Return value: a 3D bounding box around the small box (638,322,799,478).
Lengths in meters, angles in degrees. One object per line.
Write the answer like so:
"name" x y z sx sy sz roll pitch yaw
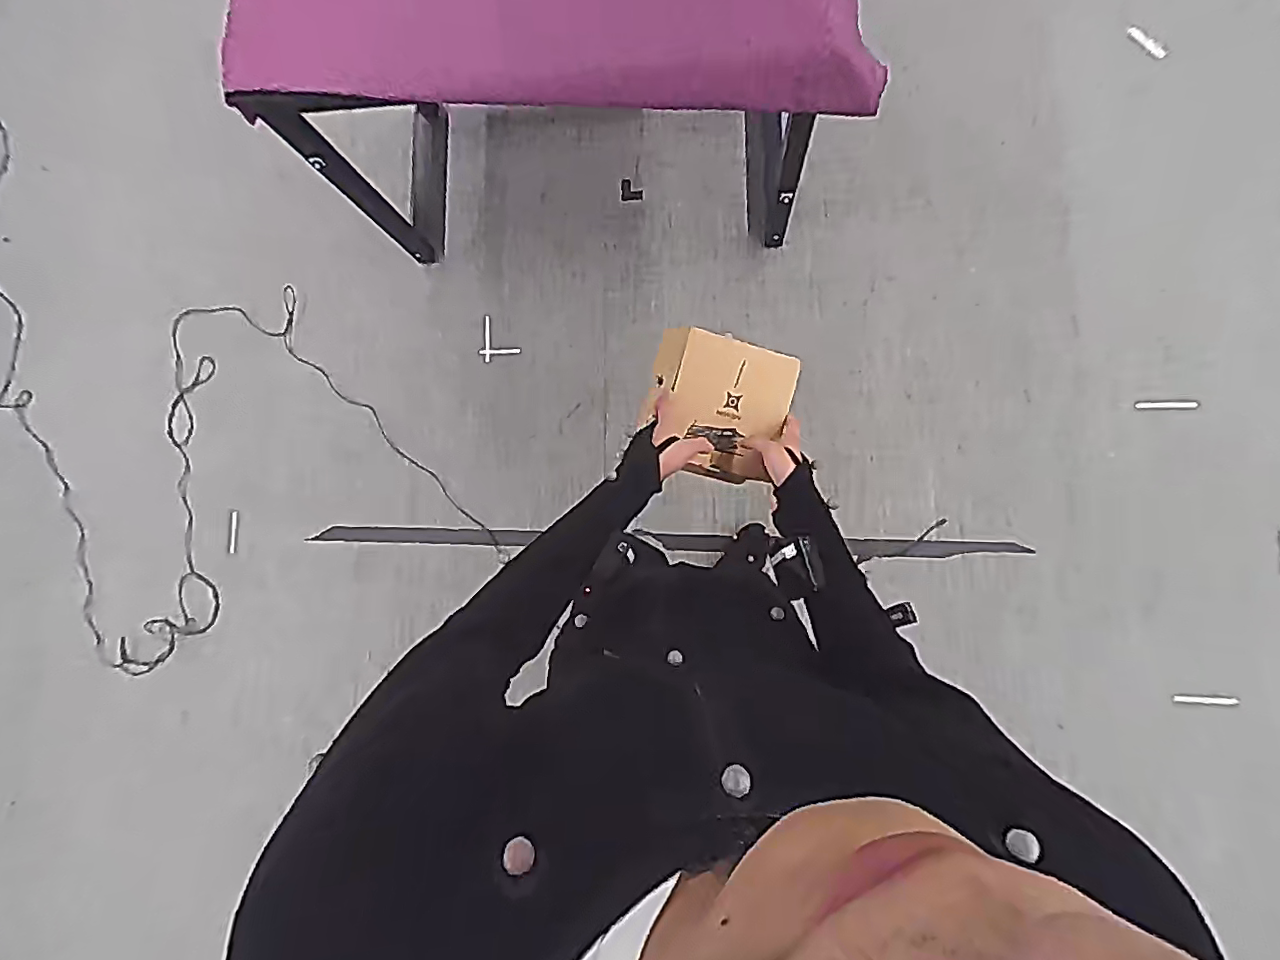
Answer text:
"small box" 0.102 -0.123 0.800 0.168 0.176 0.179 14 102 -13
